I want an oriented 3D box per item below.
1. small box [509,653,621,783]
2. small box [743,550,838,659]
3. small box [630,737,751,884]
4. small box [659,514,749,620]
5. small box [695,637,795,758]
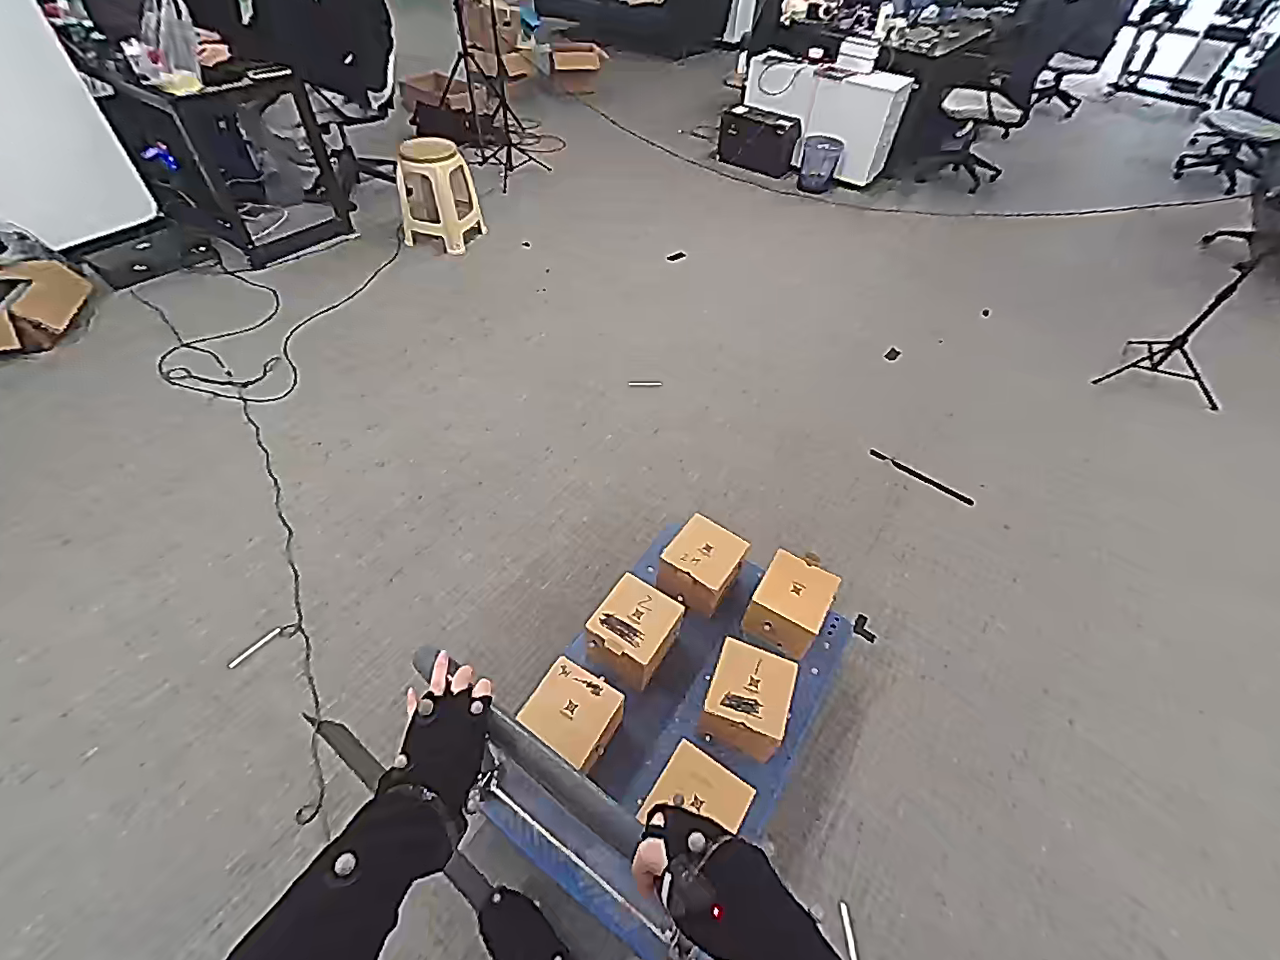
[{"bbox_3d":[-0.153,0.515,1.159,0.168,0.176,0.179,28,54,17],"label":"small box"},{"bbox_3d":[0.372,0.318,1.366,0.168,0.176,0.179,27,53,18],"label":"small box"},{"bbox_3d":[0.094,0.653,1.064,0.168,0.176,0.179,30,54,19],"label":"small box"},{"bbox_3d":[0.161,0.230,1.423,0.168,0.176,0.179,31,55,21],"label":"small box"},{"bbox_3d":[0.230,0.490,1.210,0.168,0.176,0.179,20,50,12],"label":"small box"}]
